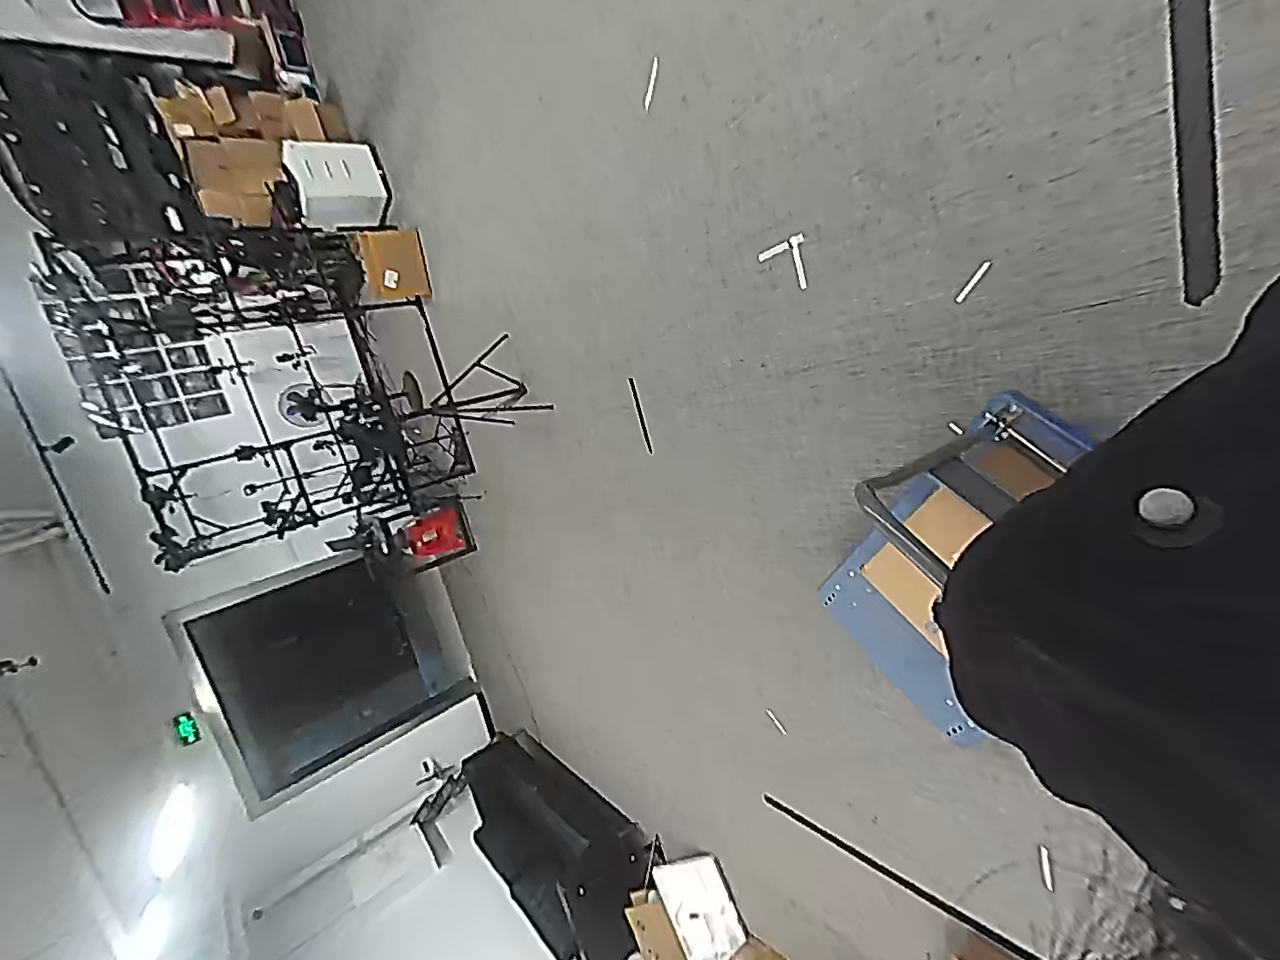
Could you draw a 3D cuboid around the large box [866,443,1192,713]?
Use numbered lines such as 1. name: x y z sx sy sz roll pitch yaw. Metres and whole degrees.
1. large box: 0.791 0.188 1.140 0.408 0.320 0.320 50 141 27
